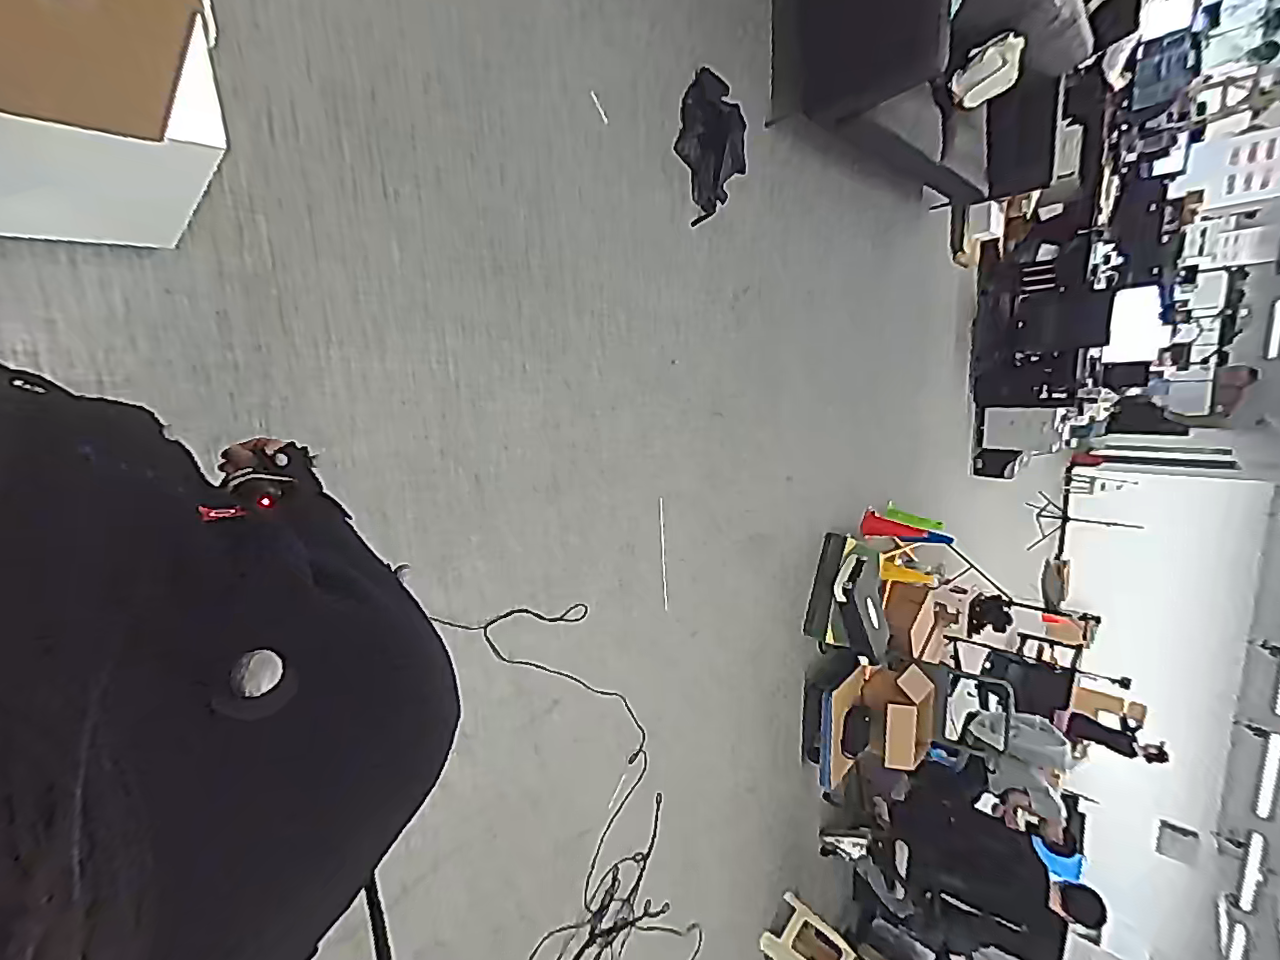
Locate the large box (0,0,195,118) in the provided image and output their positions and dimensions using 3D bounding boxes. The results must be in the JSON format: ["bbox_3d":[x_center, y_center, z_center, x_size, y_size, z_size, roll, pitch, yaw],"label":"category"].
[{"bbox_3d":[-0.558,-0.479,0.311,0.408,0.320,0.320,-16,107,-45],"label":"large box"}]
